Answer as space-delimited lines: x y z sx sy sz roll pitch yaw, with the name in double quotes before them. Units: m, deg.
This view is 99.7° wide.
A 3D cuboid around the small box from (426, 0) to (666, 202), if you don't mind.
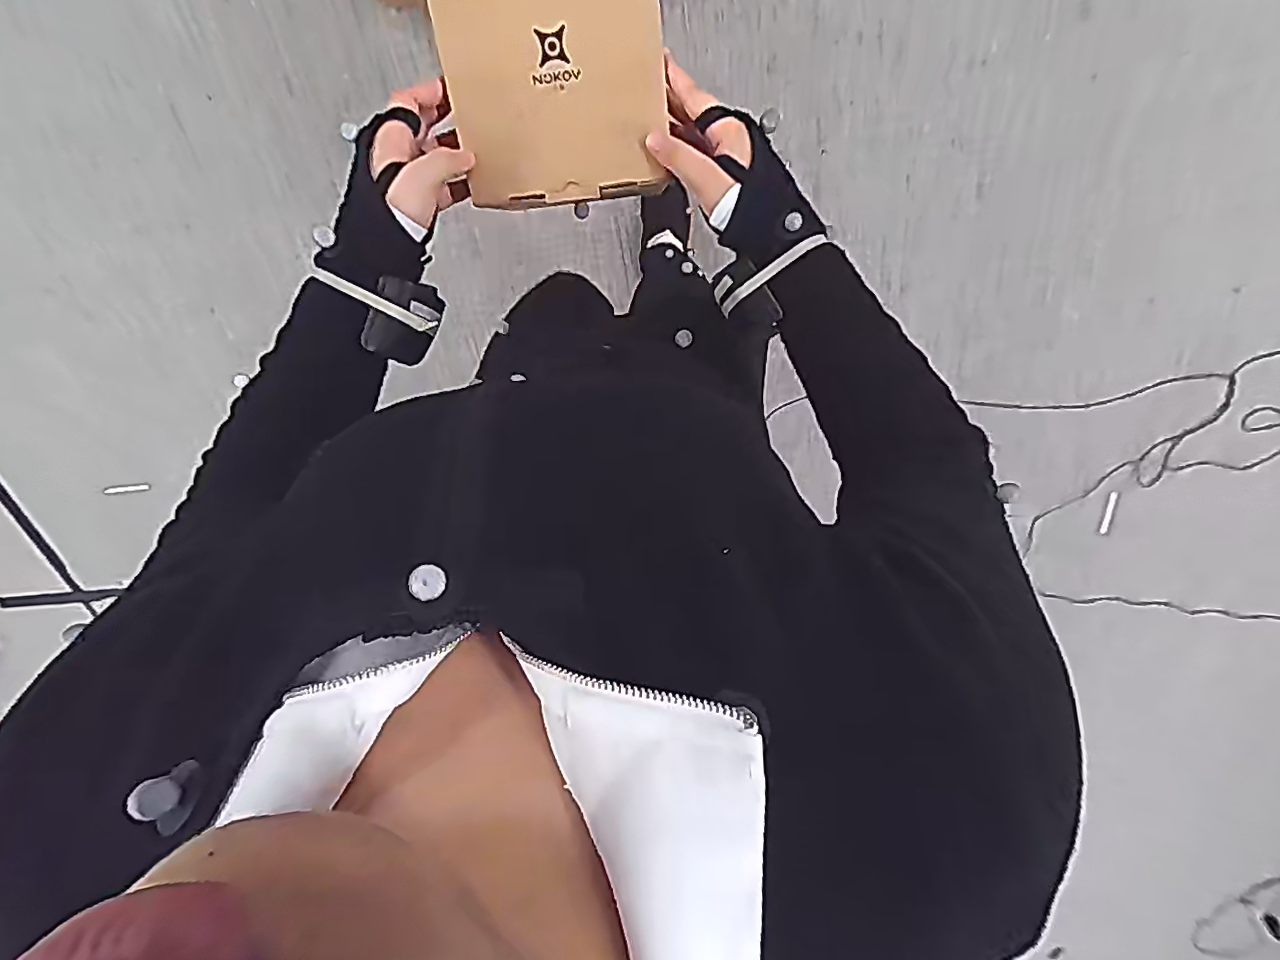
"small box" -0.066 -0.347 0.469 0.168 0.176 0.179 -6 116 2
